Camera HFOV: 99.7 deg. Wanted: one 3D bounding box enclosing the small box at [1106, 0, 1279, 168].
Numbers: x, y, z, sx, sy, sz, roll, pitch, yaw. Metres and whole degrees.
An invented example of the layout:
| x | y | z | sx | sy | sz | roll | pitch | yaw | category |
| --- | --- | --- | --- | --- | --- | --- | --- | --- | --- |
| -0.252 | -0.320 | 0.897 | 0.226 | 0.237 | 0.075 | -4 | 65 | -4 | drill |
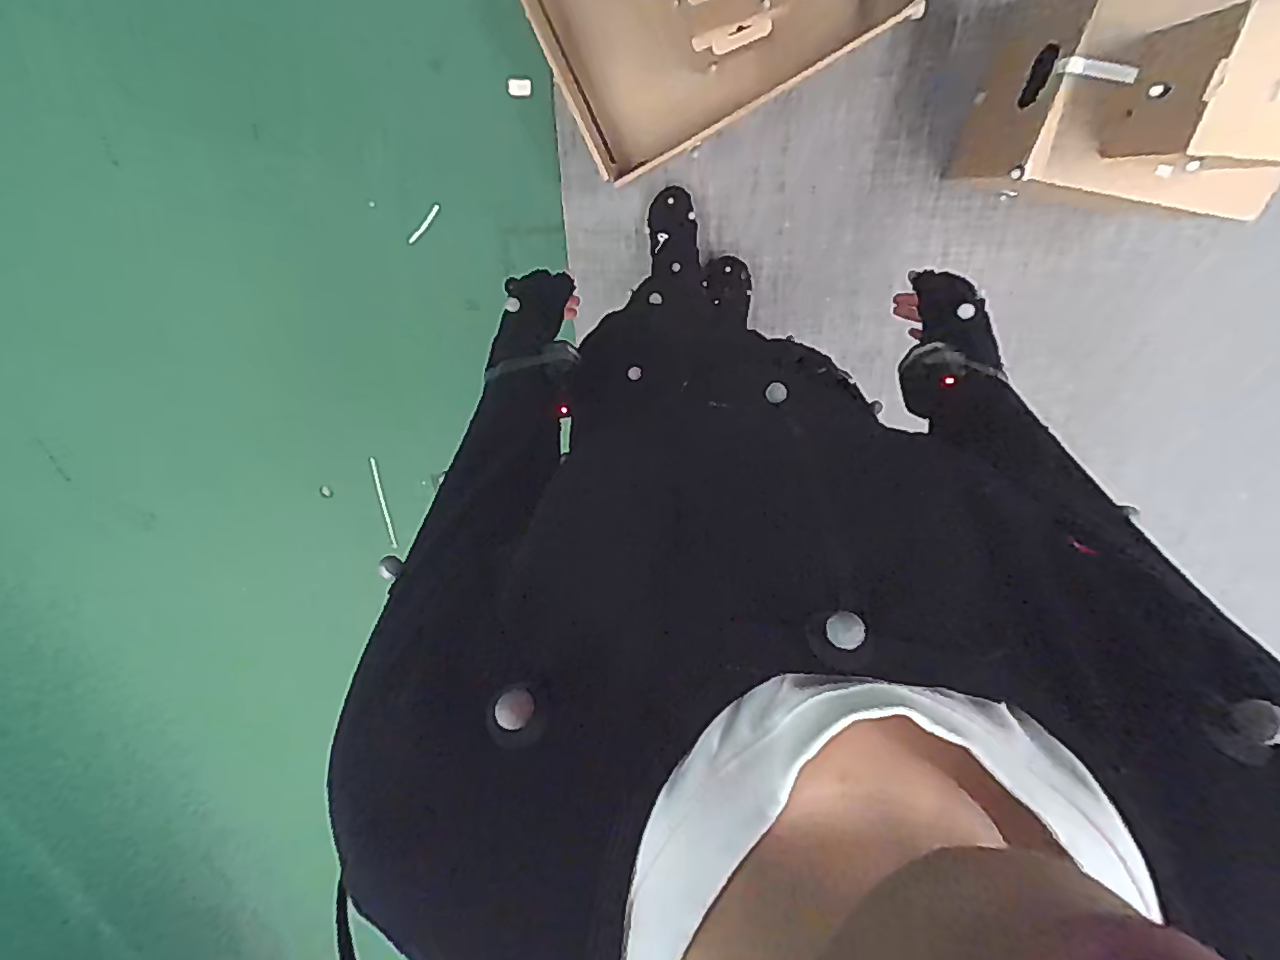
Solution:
| x | y | z | sx | sy | sz | roll | pitch | yaw | category |
| --- | --- | --- | --- | --- | --- | --- | --- | --- | --- |
| 0.825 | -0.542 | 0.761 | 0.179 | 0.176 | 0.168 | 7 | 119 | 3 | small box |

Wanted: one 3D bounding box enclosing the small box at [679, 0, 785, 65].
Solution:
| x | y | z | sx | sy | sz | roll | pitch | yaw | category |
| --- | --- | --- | --- | --- | --- | --- | --- | --- | --- |
| 0.152 | -0.871 | 0.956 | 0.168 | 0.176 | 0.179 | -14 | 113 | 14 | small box |

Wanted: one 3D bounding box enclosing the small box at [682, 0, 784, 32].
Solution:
| x | y | z | sx | sy | sz | roll | pitch | yaw | category |
| --- | --- | --- | --- | --- | --- | --- | --- | --- | --- |
| 0.134 | -0.811 | 0.806 | 0.168 | 0.176 | 0.179 | -11 | 113 | 11 | small box |
